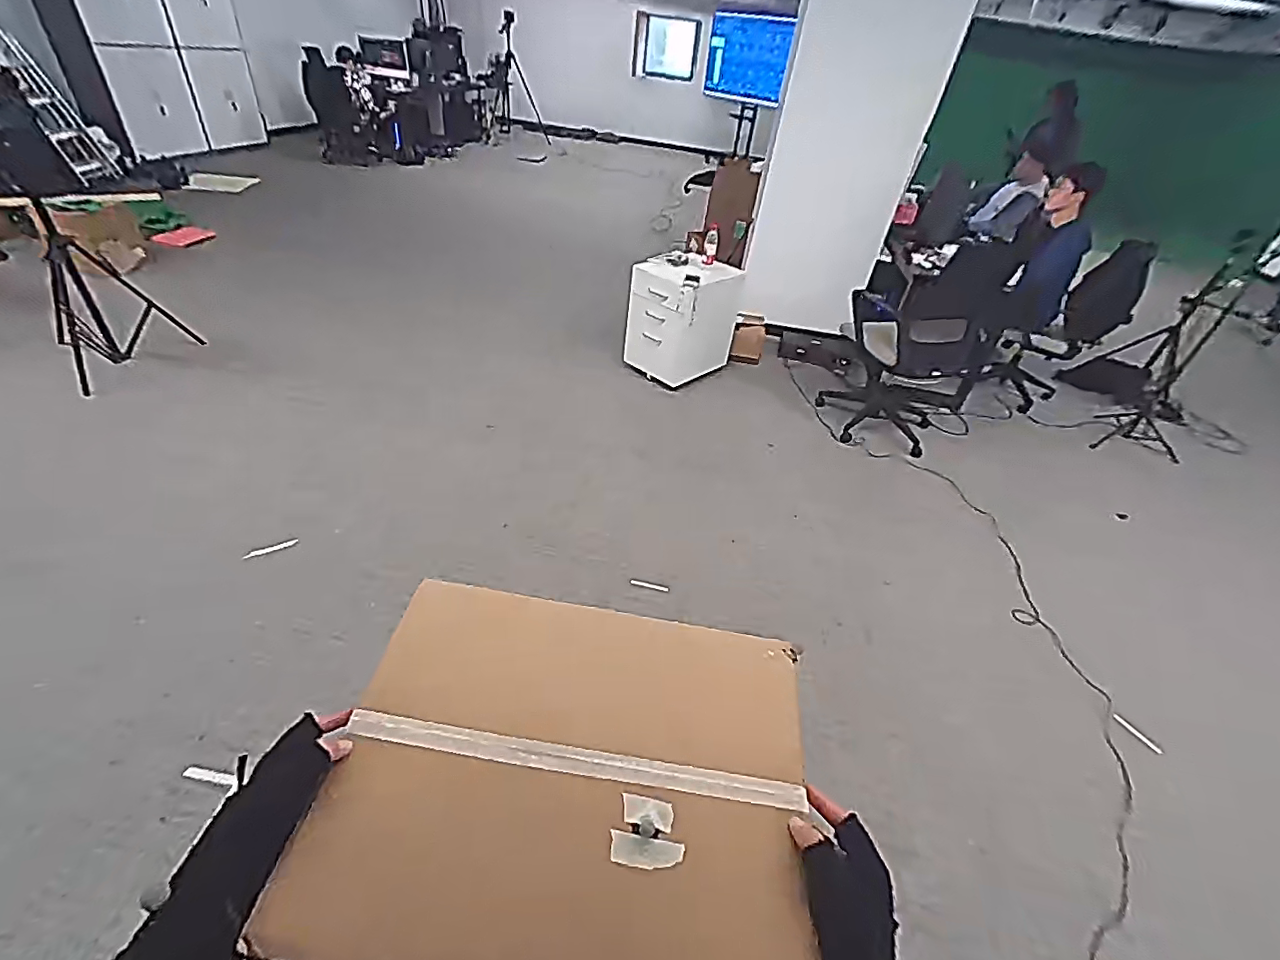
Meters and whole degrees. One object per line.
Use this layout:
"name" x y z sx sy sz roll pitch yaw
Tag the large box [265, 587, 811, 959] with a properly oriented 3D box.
"large box" -0.074 0.358 0.589 0.408 0.320 0.320 10 44 0
